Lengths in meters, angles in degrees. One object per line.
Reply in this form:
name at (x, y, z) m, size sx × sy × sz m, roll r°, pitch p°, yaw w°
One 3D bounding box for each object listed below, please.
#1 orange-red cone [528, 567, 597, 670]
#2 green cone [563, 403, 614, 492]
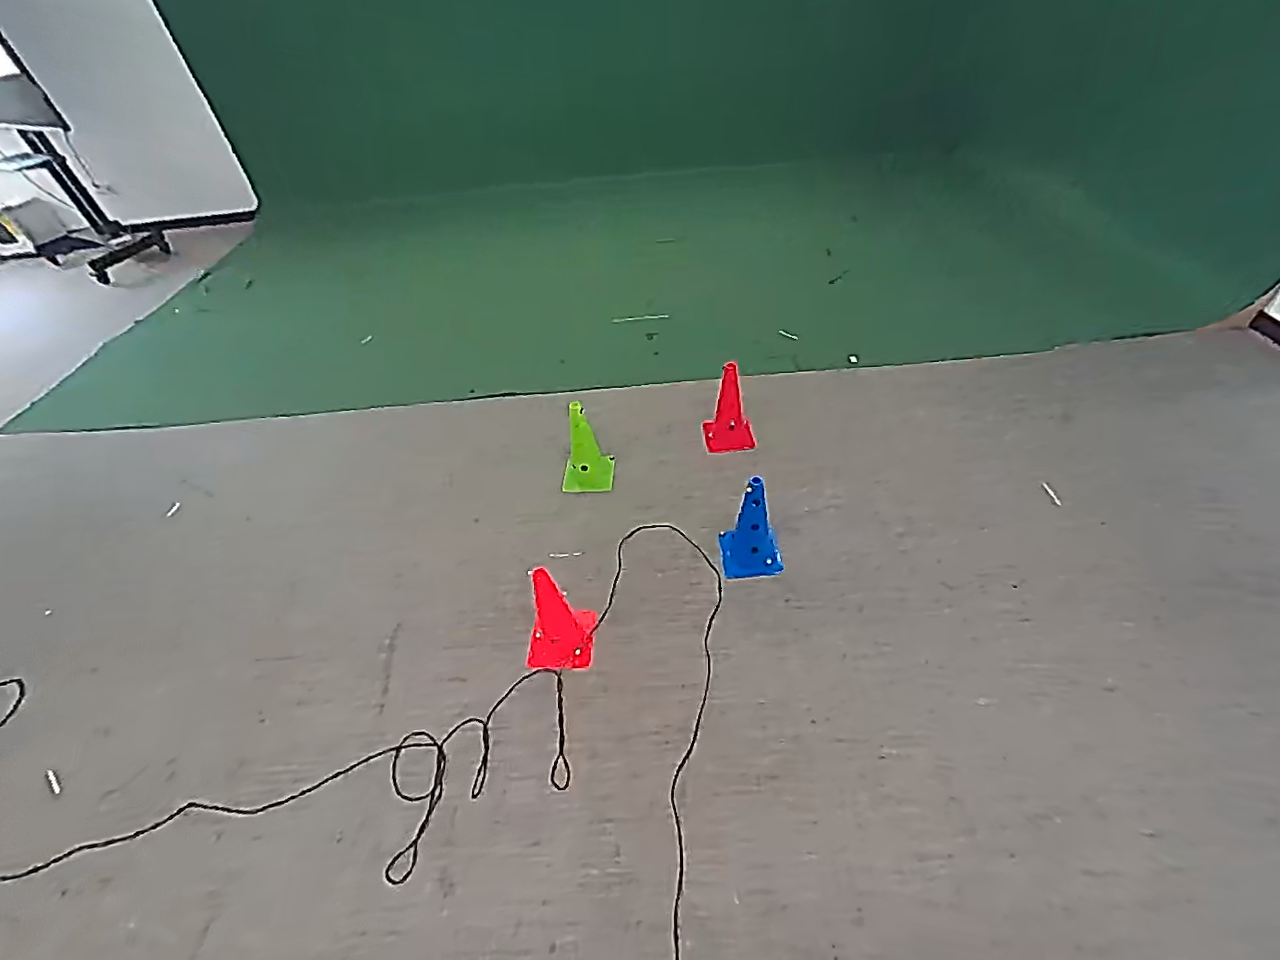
orange-red cone at (-0.251, 0.372, 1.570) m, size 0.198 × 0.360 × 0.199 m, roll 0°, pitch 43°, yaw 5°
green cone at (-0.224, -0.146, 2.085) m, size 0.200 × 0.368 × 0.202 m, roll -3°, pitch 46°, yaw 5°
